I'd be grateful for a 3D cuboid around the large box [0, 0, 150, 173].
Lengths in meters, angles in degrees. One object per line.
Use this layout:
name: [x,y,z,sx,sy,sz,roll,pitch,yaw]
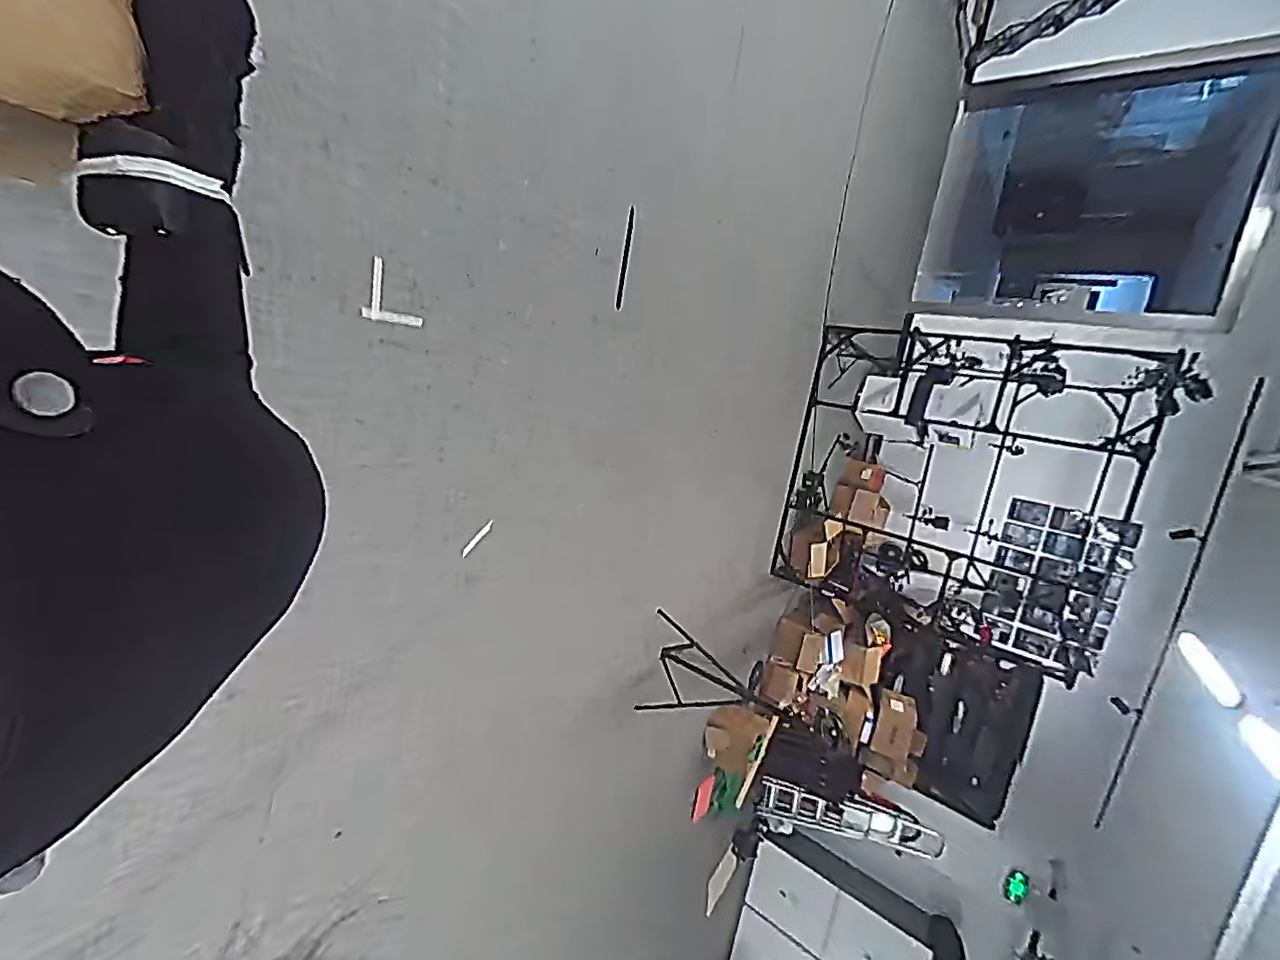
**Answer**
large box: [-0.566,-0.400,0.269,0.408,0.320,0.320,-10,111,-57]
